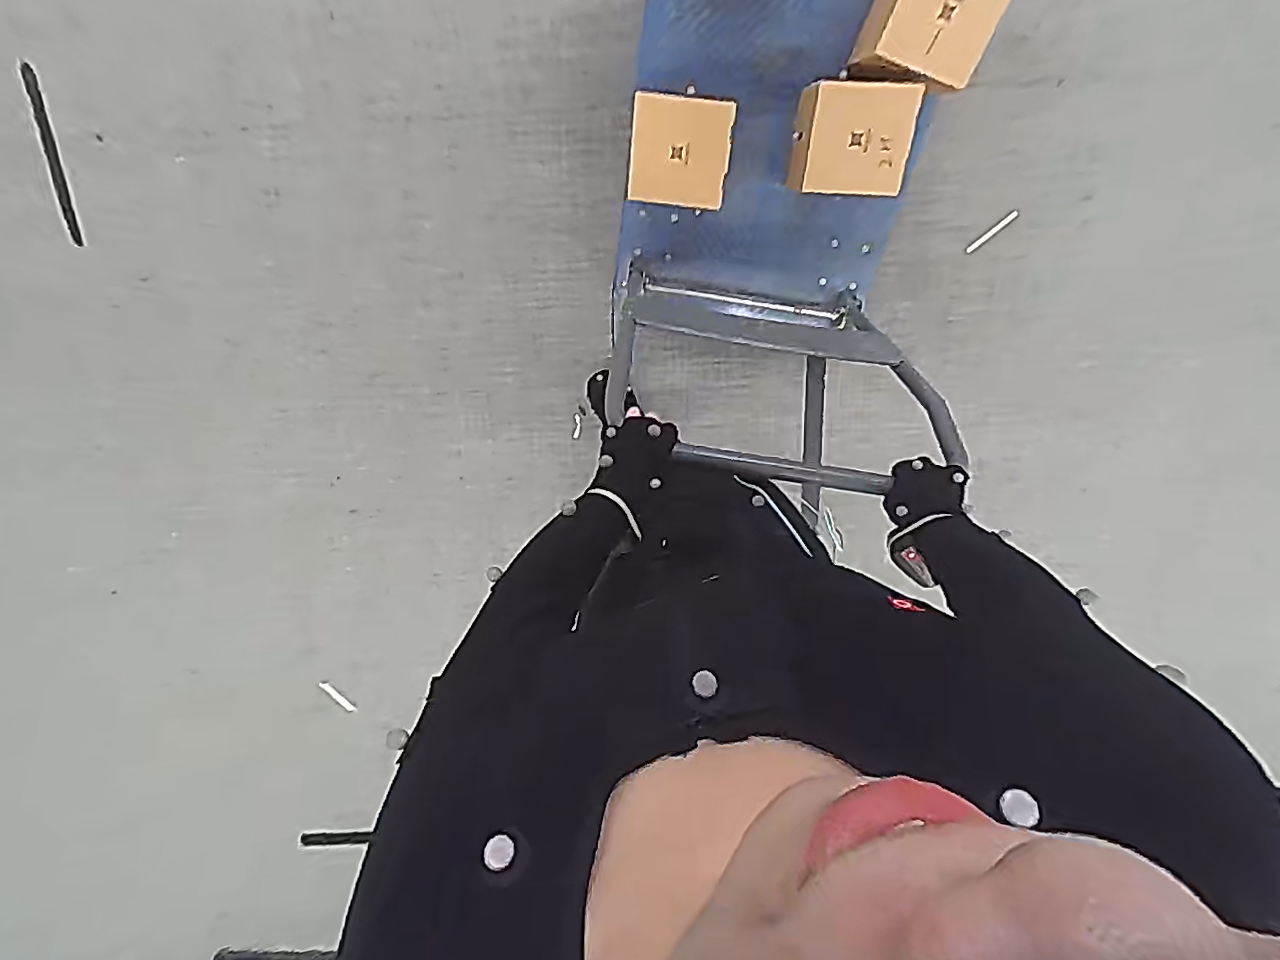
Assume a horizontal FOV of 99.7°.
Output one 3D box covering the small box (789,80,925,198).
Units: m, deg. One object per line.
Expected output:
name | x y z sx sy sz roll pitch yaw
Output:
small box | 0.385 -0.624 0.999 0.179 0.176 0.168 4 122 1

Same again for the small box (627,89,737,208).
small box | 0.073 -0.620 1.021 0.179 0.176 0.168 6 121 -2

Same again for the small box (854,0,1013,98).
small box | 0.487 -0.771 0.903 0.168 0.176 0.179 17 122 -7
